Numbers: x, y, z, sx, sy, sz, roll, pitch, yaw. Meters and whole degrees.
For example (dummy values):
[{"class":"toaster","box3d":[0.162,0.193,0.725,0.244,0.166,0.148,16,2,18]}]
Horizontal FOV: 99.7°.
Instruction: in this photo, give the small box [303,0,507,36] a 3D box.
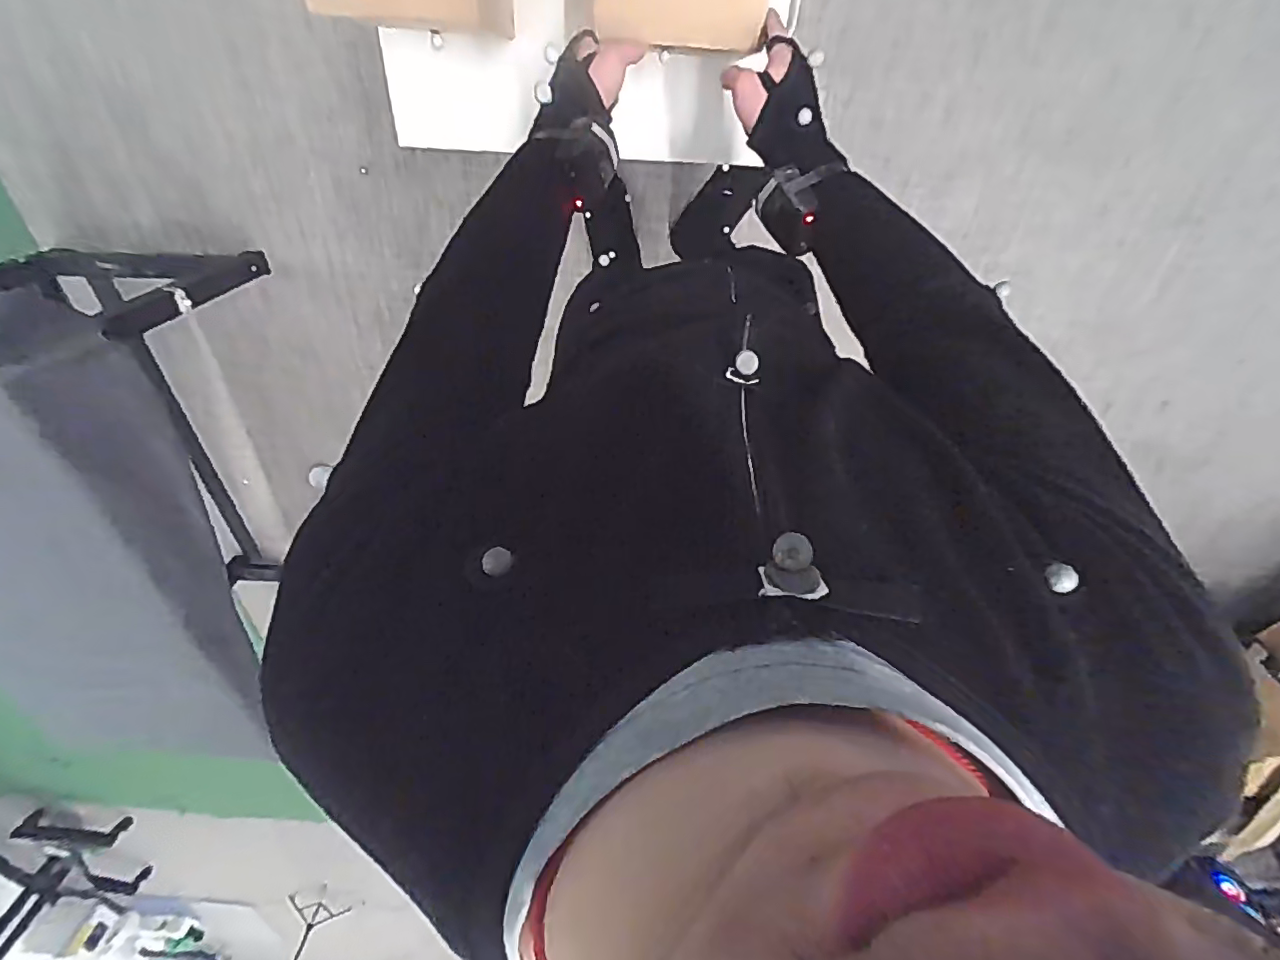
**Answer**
[{"class":"small box","box3d":[-0.239,-0.570,0.554,0.179,0.176,0.168,3,126,-2]}]

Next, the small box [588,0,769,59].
[{"class":"small box","box3d":[0.044,-0.545,0.556,0.179,0.176,0.168,4,127,0]}]
